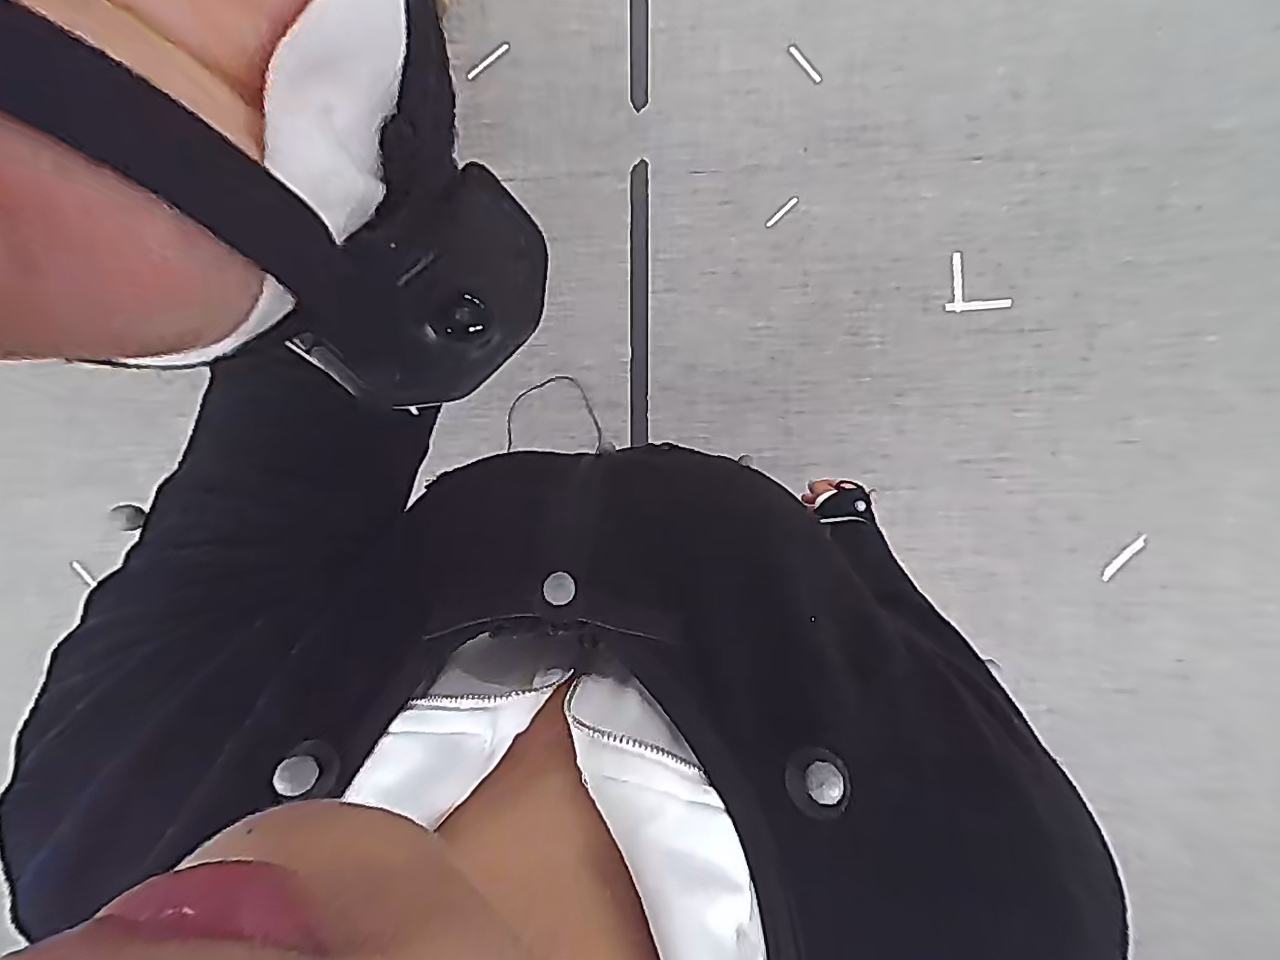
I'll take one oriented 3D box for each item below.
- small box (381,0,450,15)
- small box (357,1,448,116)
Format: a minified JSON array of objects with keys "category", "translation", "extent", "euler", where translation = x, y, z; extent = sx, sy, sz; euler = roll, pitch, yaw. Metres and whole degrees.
[{"category":"small box","translation":[-0.613,-1.356,1.406],"extent":[0.179,0.176,0.168],"euler":[-1,92,3]},{"category":"small box","translation":[-0.614,-1.093,1.415],"extent":[0.168,0.176,0.179],"euler":[-1,92,3]}]
